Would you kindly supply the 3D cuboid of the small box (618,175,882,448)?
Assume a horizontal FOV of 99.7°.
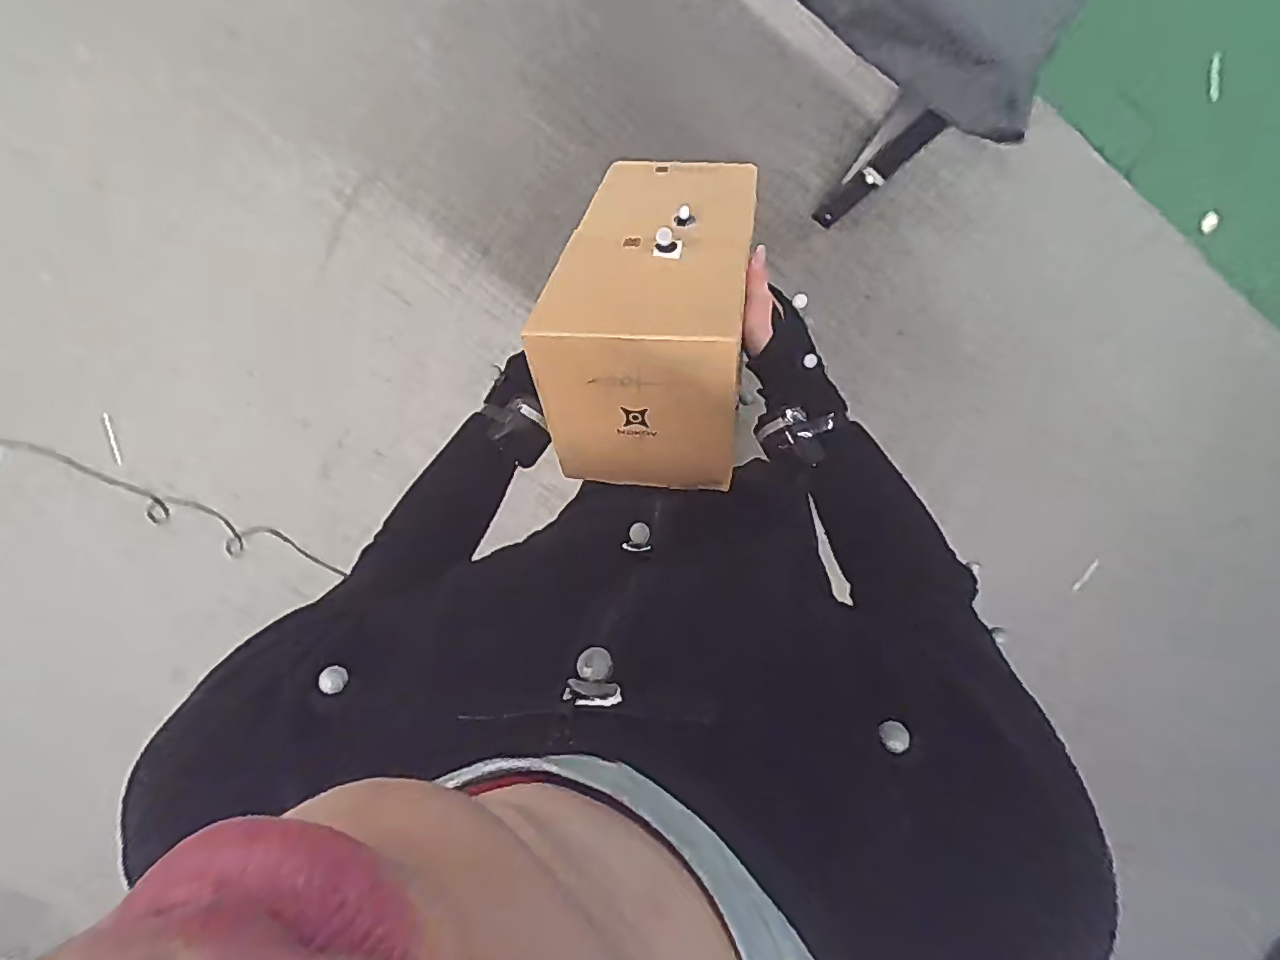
[{"bbox_3d":[0.093,-0.162,0.523,0.179,0.168,0.176,15,125,-18],"label":"small box"}]
